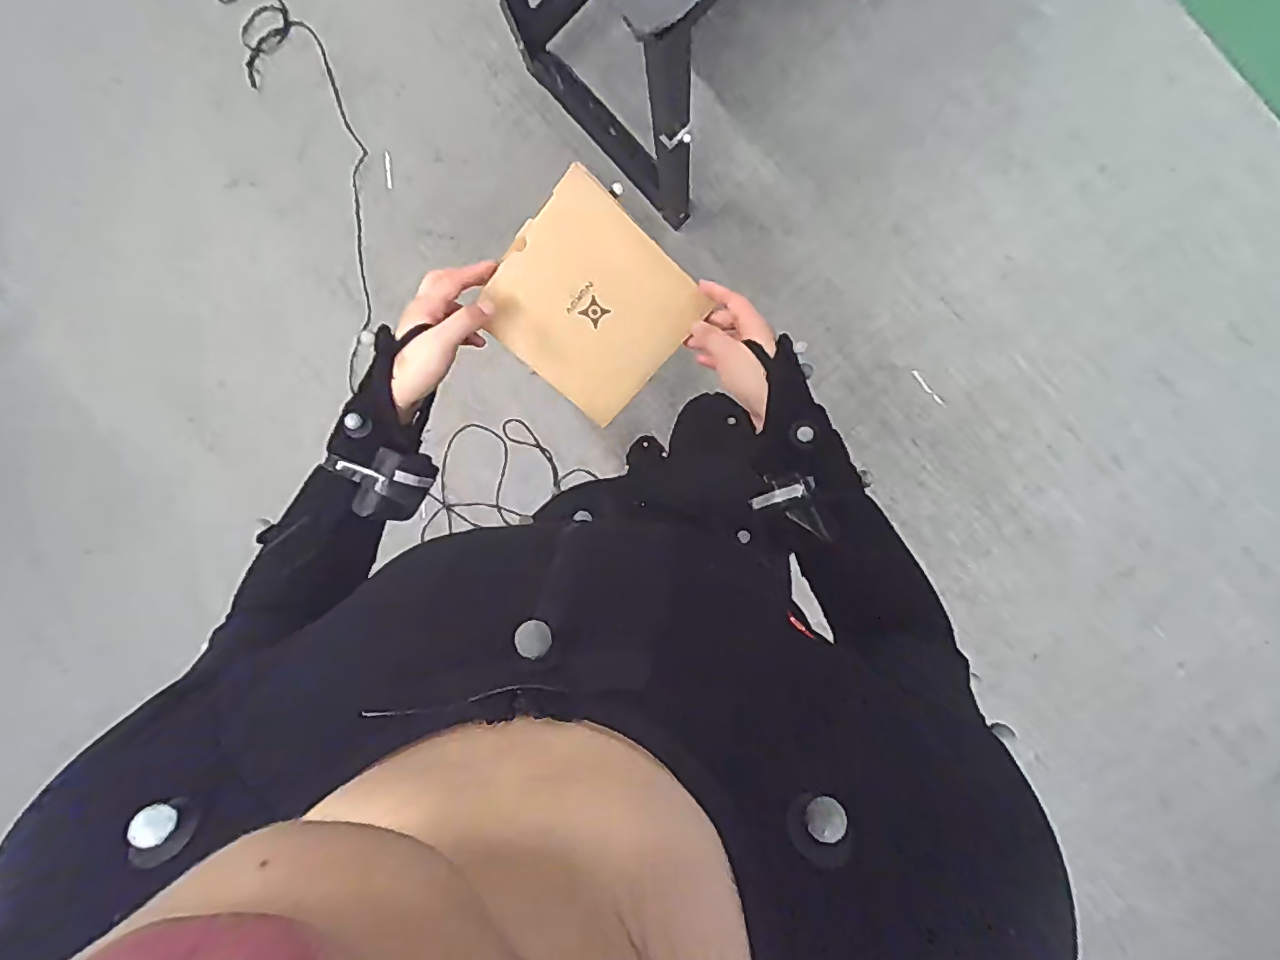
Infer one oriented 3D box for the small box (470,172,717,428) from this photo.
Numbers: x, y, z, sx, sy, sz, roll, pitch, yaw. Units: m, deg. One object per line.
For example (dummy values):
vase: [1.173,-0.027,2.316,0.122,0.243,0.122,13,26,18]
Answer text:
small box: [-0.045,-0.191,0.578,0.179,0.176,0.168,39,106,-17]
